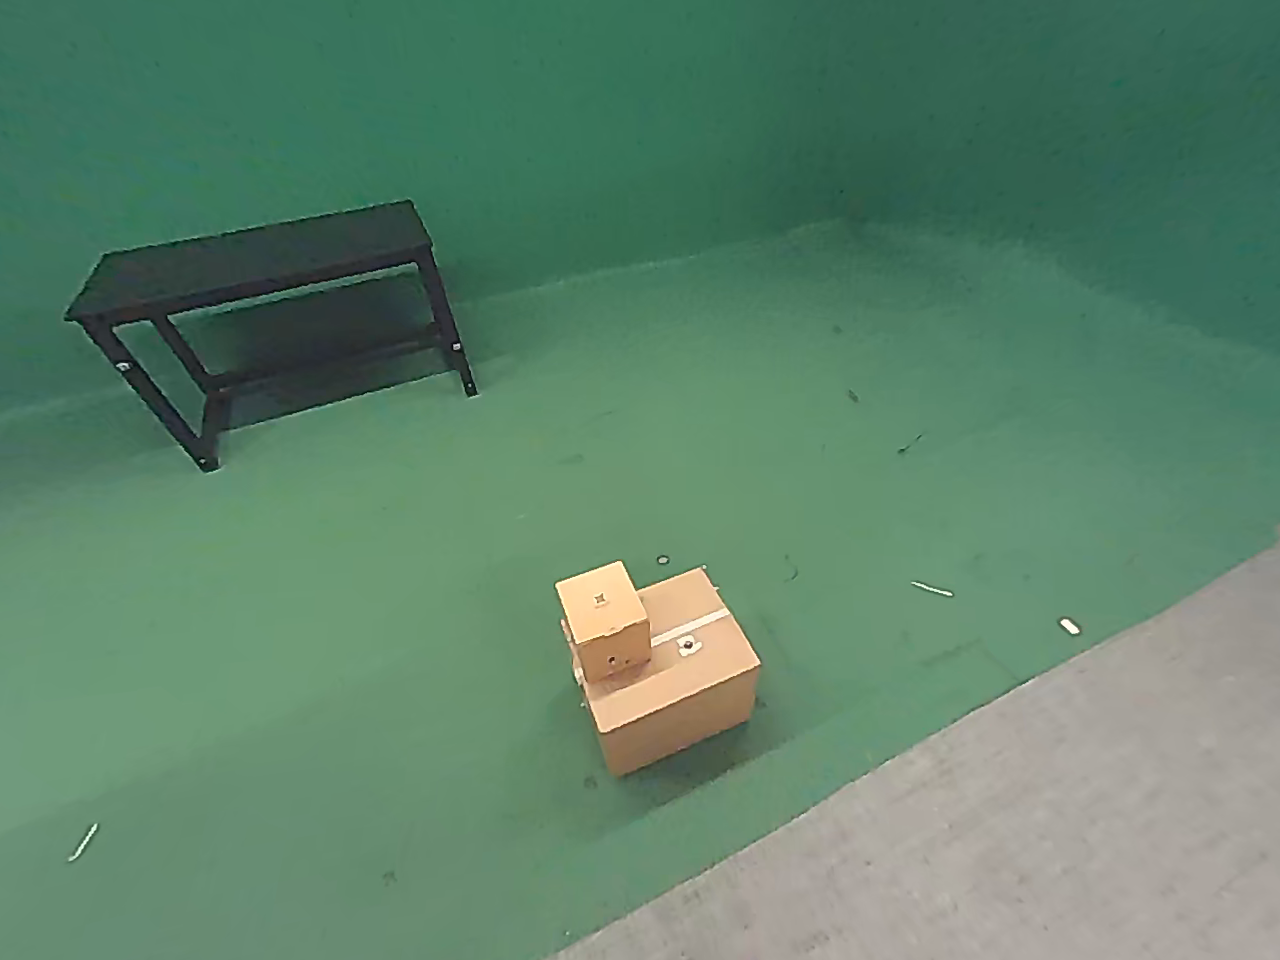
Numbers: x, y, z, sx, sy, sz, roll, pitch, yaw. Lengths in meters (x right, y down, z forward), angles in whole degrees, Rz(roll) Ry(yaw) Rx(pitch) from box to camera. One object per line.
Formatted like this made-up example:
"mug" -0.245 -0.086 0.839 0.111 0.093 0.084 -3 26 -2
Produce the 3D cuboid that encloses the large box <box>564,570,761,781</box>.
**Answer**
"large box" 0.051 0.504 1.411 0.408 0.320 0.320 -17 46 -14

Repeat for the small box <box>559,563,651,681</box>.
"small box" -0.080 0.328 1.253 0.168 0.176 0.179 -17 45 -14
